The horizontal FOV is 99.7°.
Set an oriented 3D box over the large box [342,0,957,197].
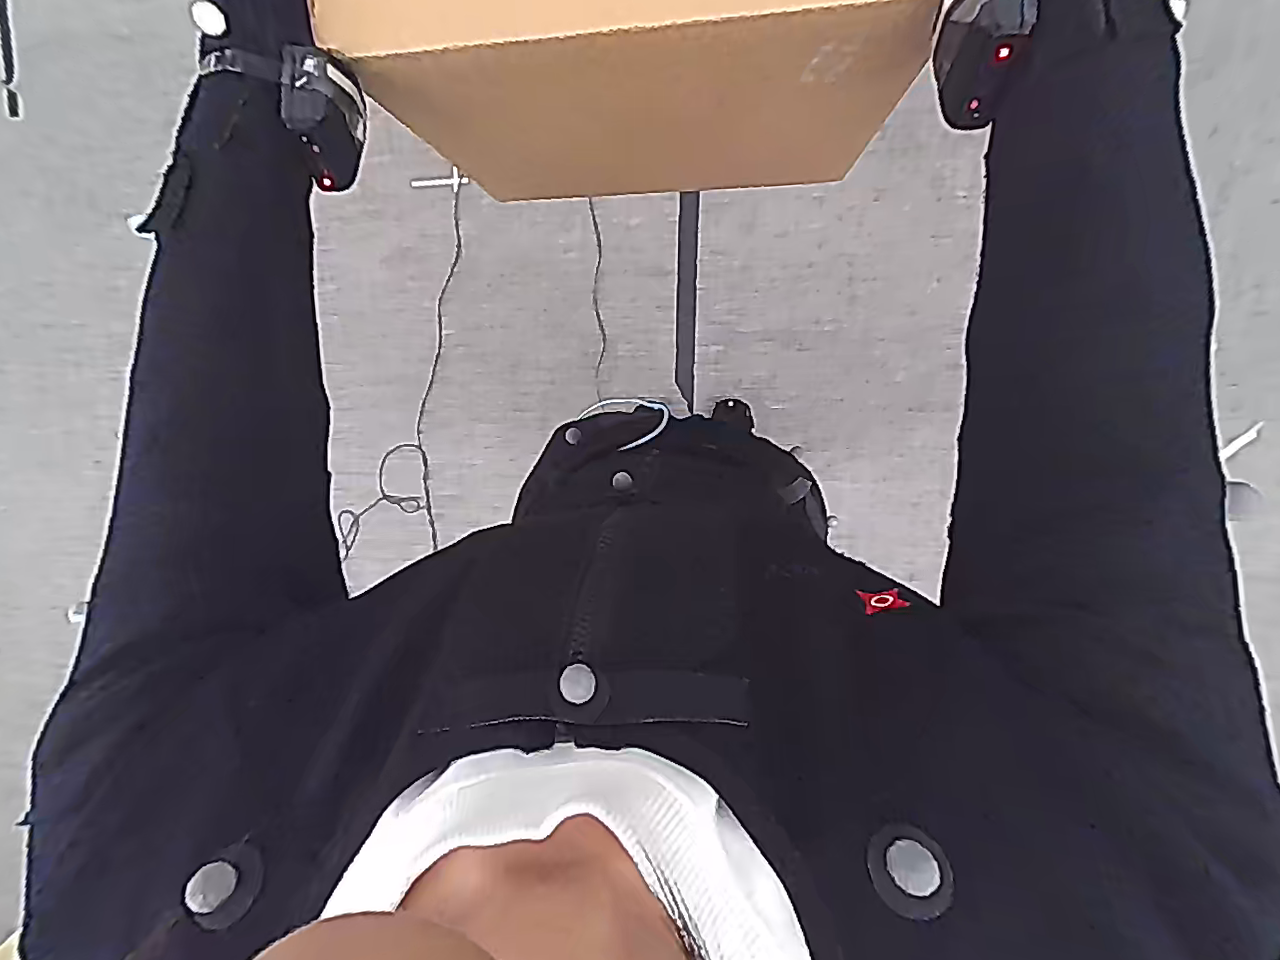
[{"bbox_3d":[0.010,-0.463,0.455,0.408,0.320,0.320,-1,102,6],"label":"large box"}]
